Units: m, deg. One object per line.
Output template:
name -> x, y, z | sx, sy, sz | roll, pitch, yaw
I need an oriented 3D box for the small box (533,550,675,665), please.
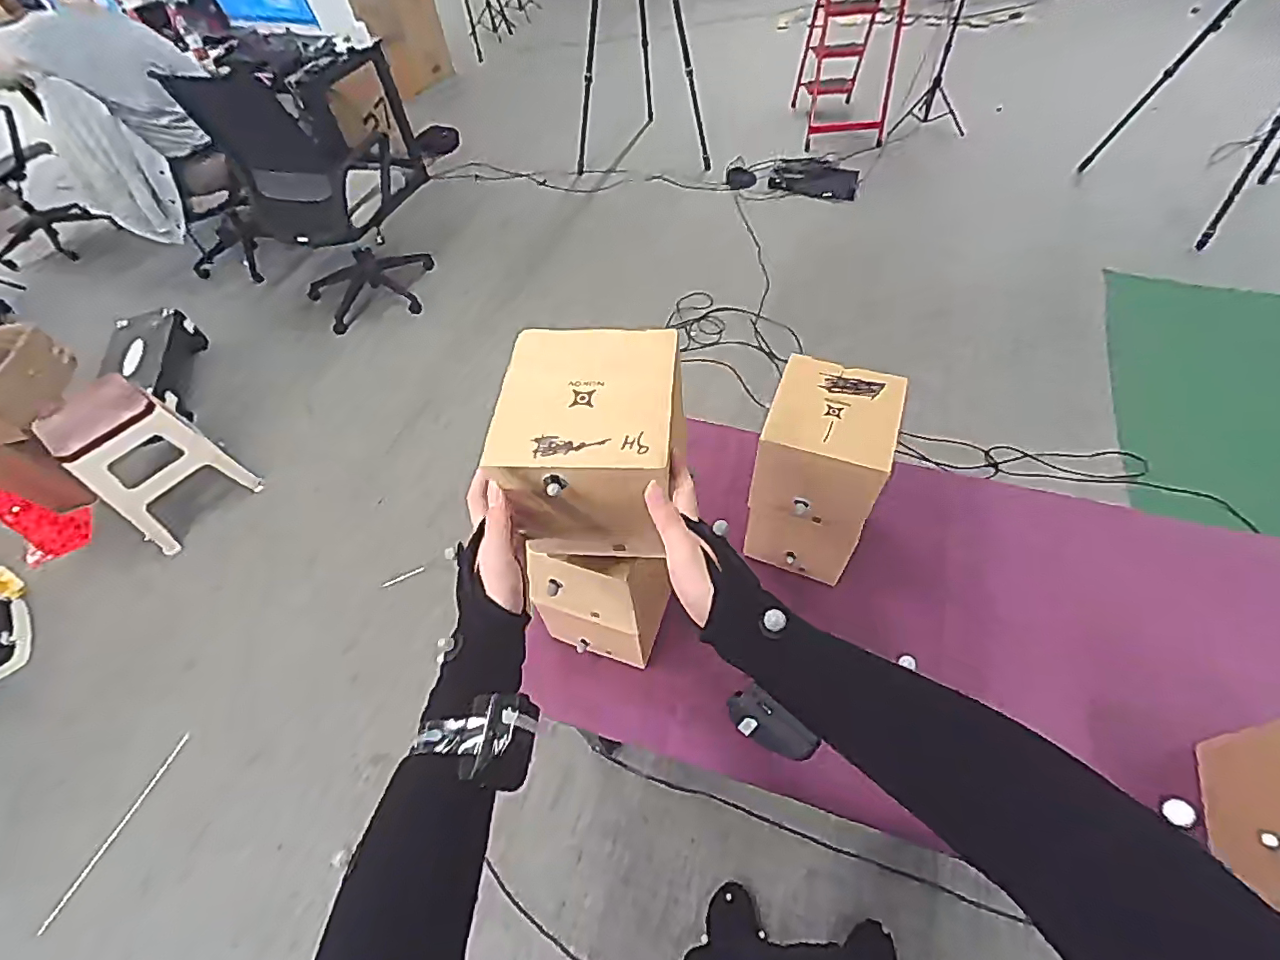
small box -> -0.046, 0.166, 0.863 | 0.168, 0.176, 0.179 | 14, 56, 15

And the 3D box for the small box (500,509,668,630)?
small box -> -0.056, 0.077, 0.729 | 0.168, 0.176, 0.179 | 14, 55, 16

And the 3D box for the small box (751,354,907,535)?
small box -> 0.267, -0.050, 0.787 | 0.168, 0.176, 0.179 | 17, 58, 16

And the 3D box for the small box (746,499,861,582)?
small box -> 0.286, 0.043, 0.922 | 0.168, 0.176, 0.179 | 18, 59, 18

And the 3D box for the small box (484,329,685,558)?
small box -> -0.040, -0.036, 0.568 | 0.168, 0.176, 0.179 | 1, 56, 8
